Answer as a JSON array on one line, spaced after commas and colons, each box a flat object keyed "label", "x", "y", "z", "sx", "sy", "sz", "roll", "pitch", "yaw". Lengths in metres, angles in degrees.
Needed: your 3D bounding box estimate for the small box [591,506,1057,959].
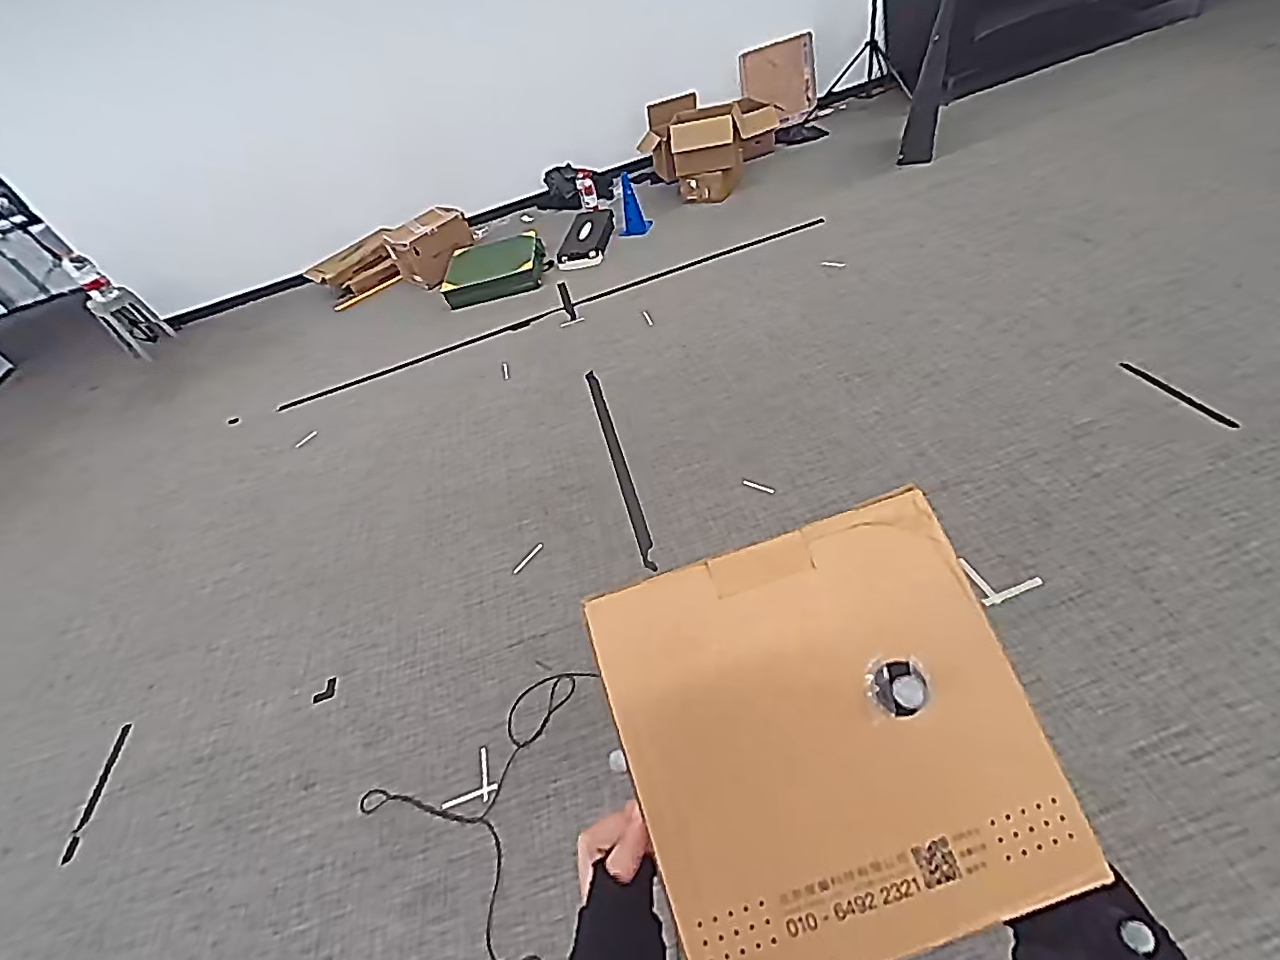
[{"label": "small box", "x": 0.086, "y": 0.134, "z": 0.320, "sx": 0.168, "sy": 0.179, "sz": 0.176, "roll": -19, "pitch": 75, "yaw": 1}]
